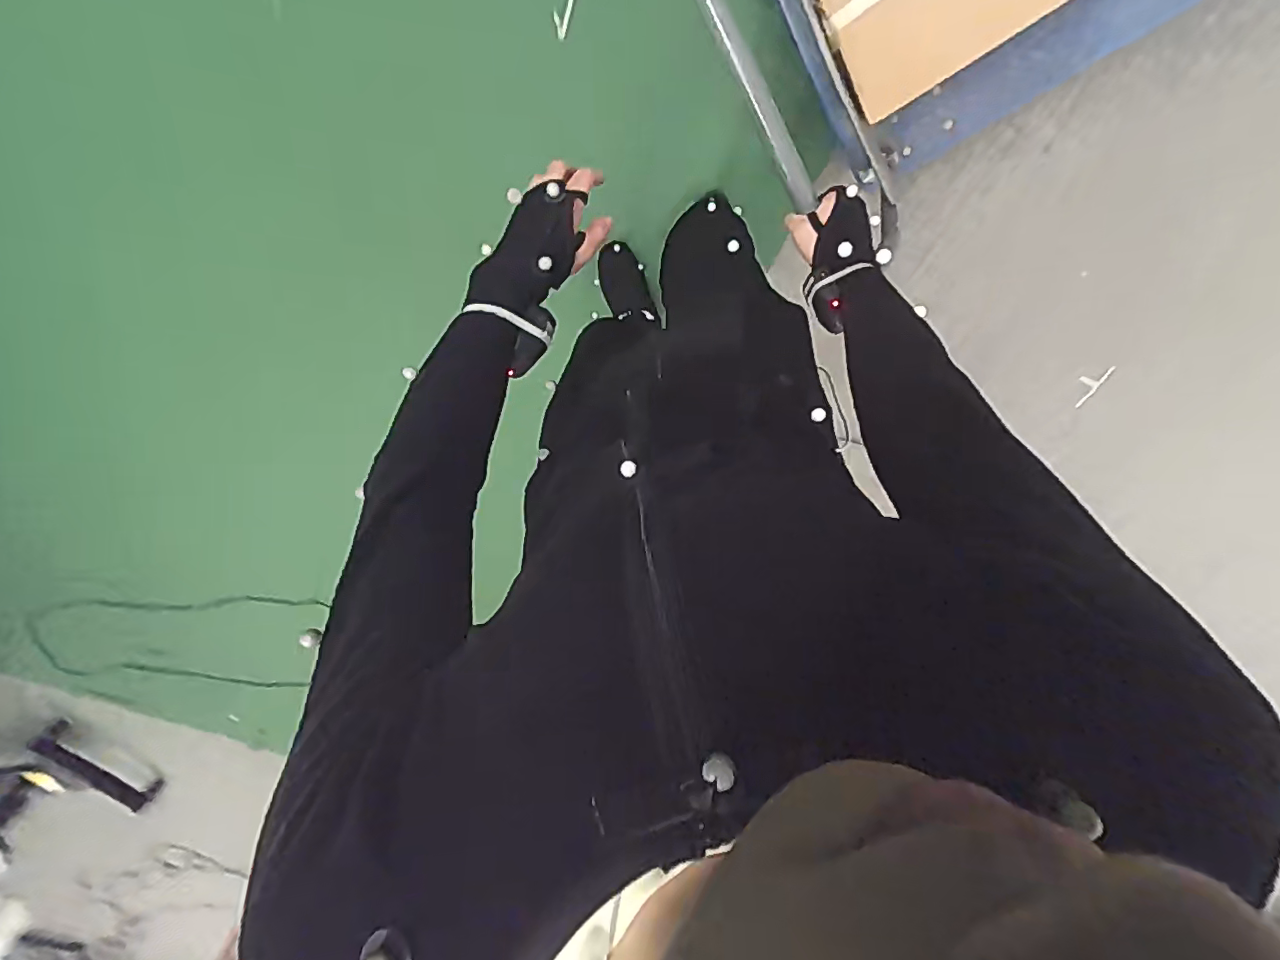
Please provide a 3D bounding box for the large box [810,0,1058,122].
[{"bbox_3d":[0.480,-0.846,0.838,0.408,0.320,0.320,-22,118,31],"label":"large box"}]
